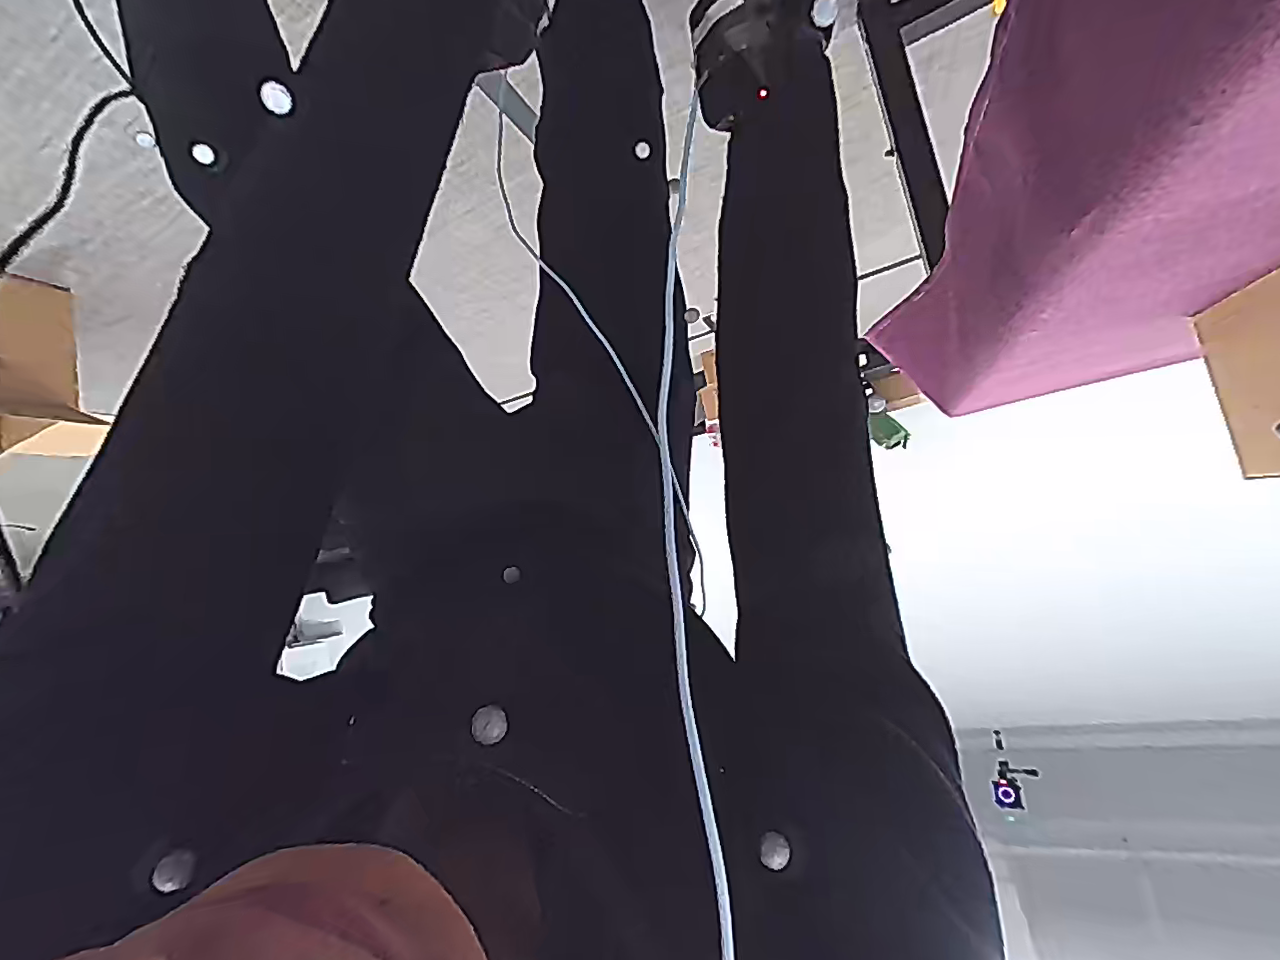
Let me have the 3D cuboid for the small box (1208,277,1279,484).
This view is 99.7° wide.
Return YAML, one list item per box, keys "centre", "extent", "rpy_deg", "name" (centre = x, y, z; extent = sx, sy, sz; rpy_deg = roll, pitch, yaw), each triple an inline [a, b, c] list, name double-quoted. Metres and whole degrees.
- centre: [0.592, -0.096, 0.409]
  extent: [0.168, 0.176, 0.179]
  rpy_deg: [-13, 173, 20]
  name: "small box"
